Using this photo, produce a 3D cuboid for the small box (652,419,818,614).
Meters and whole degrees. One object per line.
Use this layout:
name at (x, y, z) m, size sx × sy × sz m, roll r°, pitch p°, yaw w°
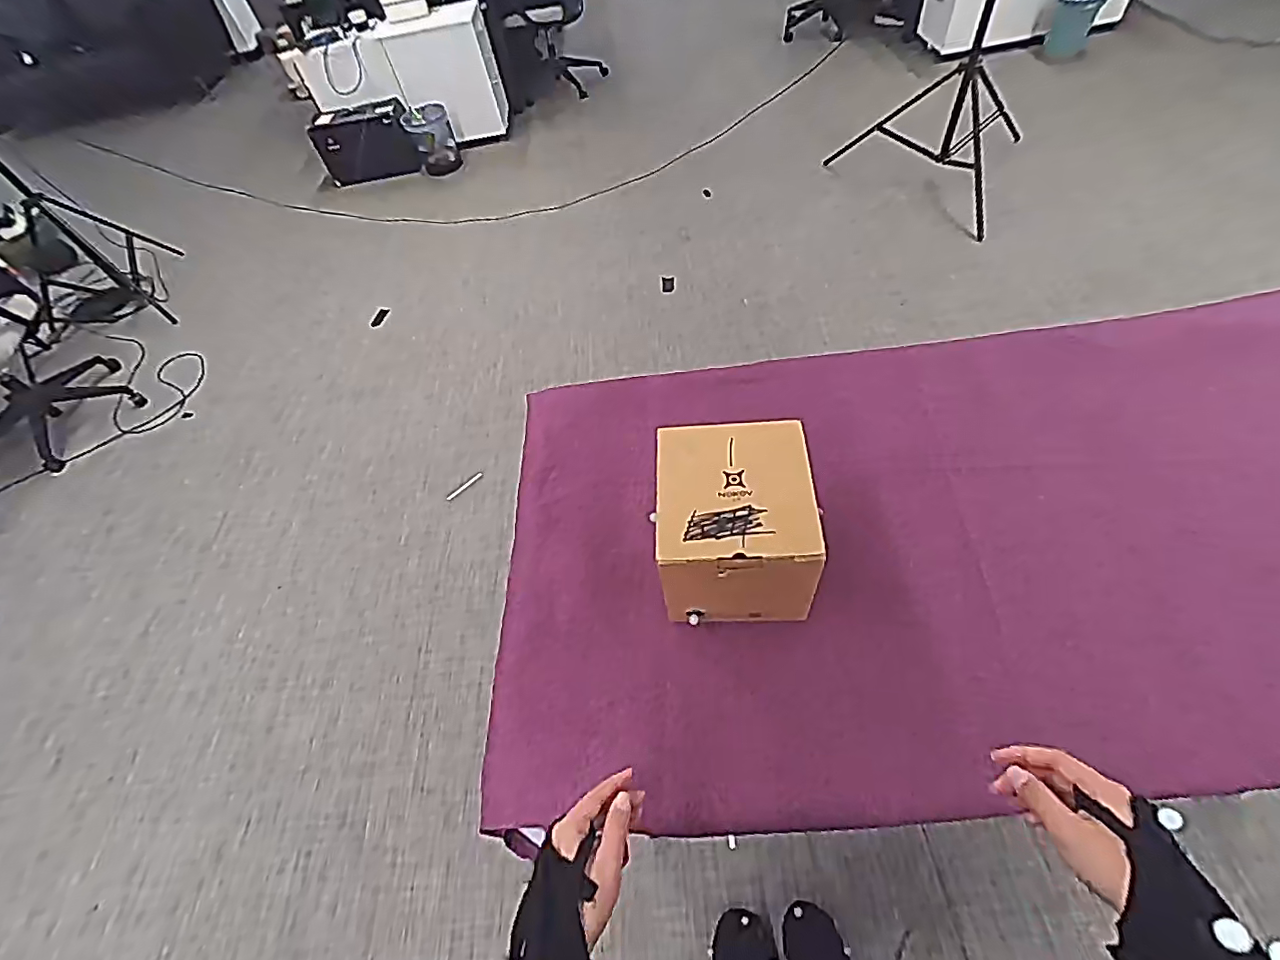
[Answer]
small box at (0.107, 0.051, 0.642) m, size 0.168 × 0.176 × 0.179 m, roll -3°, pitch 54°, yaw 7°
